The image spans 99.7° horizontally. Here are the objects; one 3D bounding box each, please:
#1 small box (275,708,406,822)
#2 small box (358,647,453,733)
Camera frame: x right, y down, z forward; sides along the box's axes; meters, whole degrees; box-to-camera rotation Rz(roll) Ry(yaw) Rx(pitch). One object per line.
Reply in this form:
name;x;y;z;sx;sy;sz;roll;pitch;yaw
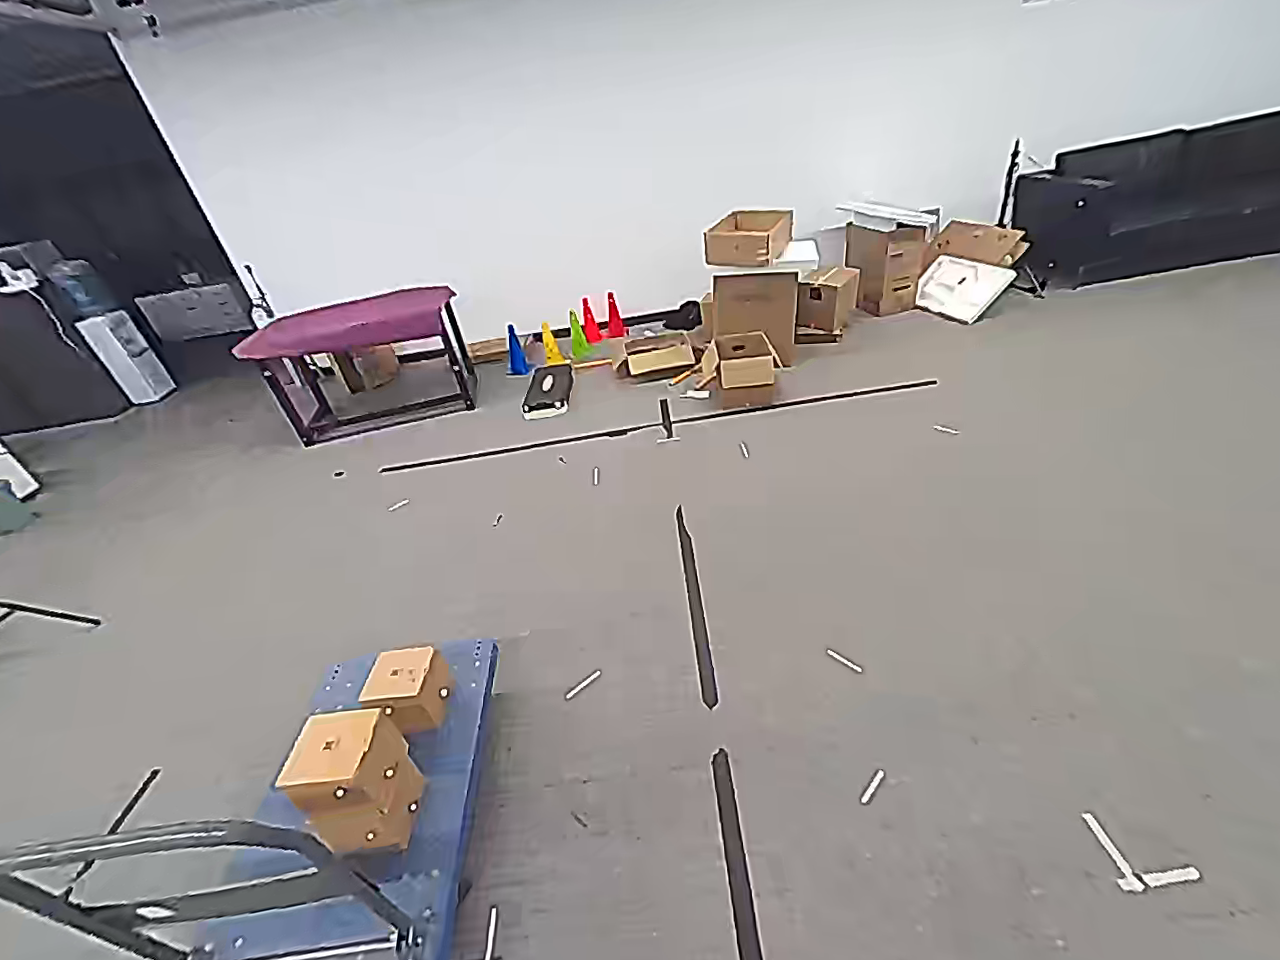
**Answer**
small box;-0.665;0.648;1.225;0.179;0.176;0.168;-7;34;2
small box;-0.672;0.613;1.571;0.179;0.176;0.168;-7;35;4
